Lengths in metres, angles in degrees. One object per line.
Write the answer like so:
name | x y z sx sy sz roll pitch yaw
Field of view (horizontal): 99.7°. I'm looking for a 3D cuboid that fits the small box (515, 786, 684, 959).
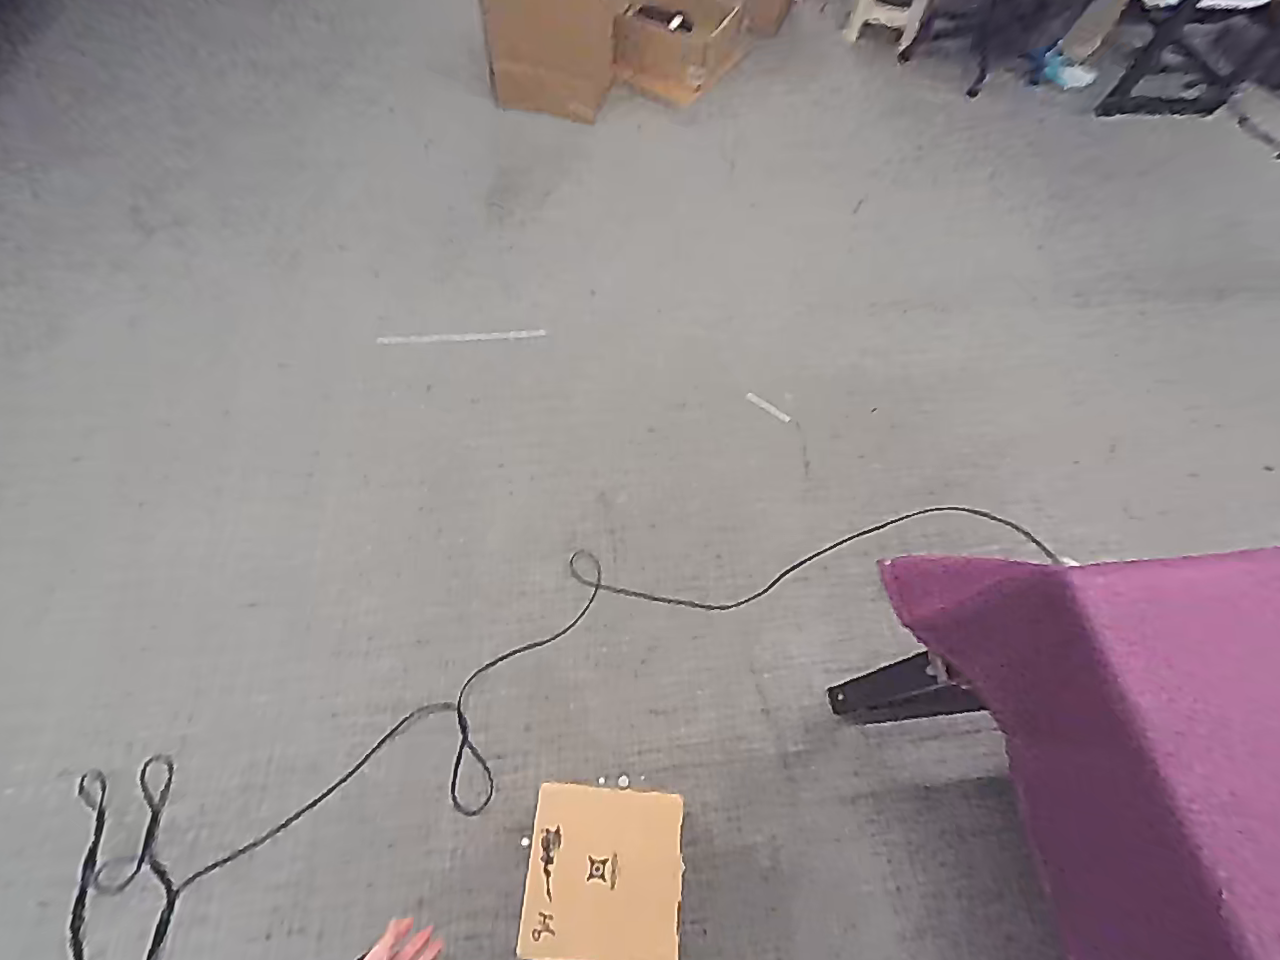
small box | -0.047 0.488 0.681 0.179 0.176 0.168 6 61 -2
